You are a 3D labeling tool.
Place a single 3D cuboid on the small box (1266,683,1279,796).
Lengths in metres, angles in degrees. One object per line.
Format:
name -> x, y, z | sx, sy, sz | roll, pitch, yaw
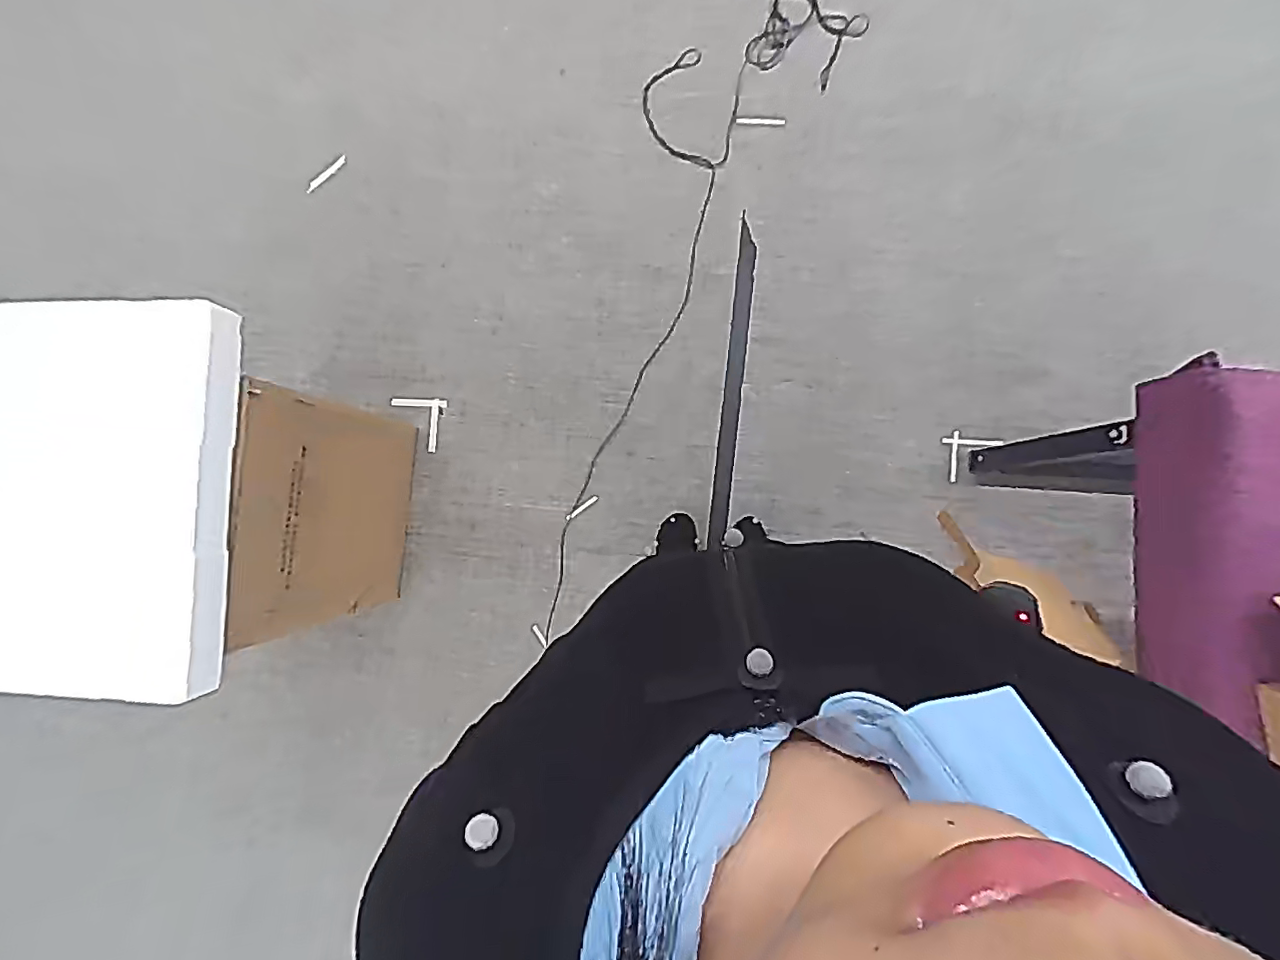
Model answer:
small box -> 0.869, 0.329, 0.598 | 0.168, 0.176, 0.179 | -6, 85, 5
